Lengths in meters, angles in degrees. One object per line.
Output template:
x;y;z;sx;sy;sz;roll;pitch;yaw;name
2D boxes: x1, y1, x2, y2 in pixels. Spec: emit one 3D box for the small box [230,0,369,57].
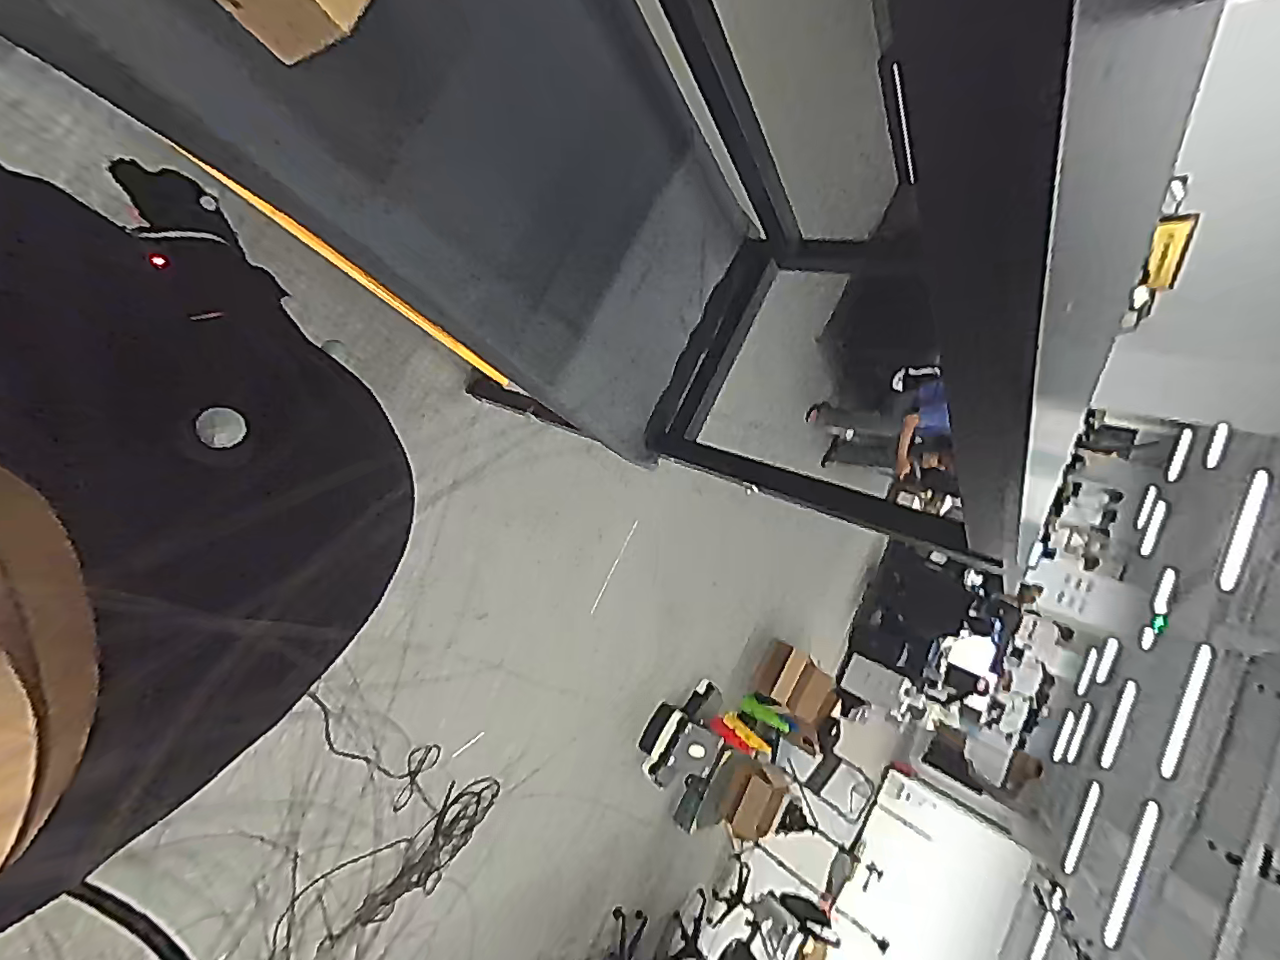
-0.326;-0.535;0.488;0.168;0.176;0.179;35;79;-51;small box
